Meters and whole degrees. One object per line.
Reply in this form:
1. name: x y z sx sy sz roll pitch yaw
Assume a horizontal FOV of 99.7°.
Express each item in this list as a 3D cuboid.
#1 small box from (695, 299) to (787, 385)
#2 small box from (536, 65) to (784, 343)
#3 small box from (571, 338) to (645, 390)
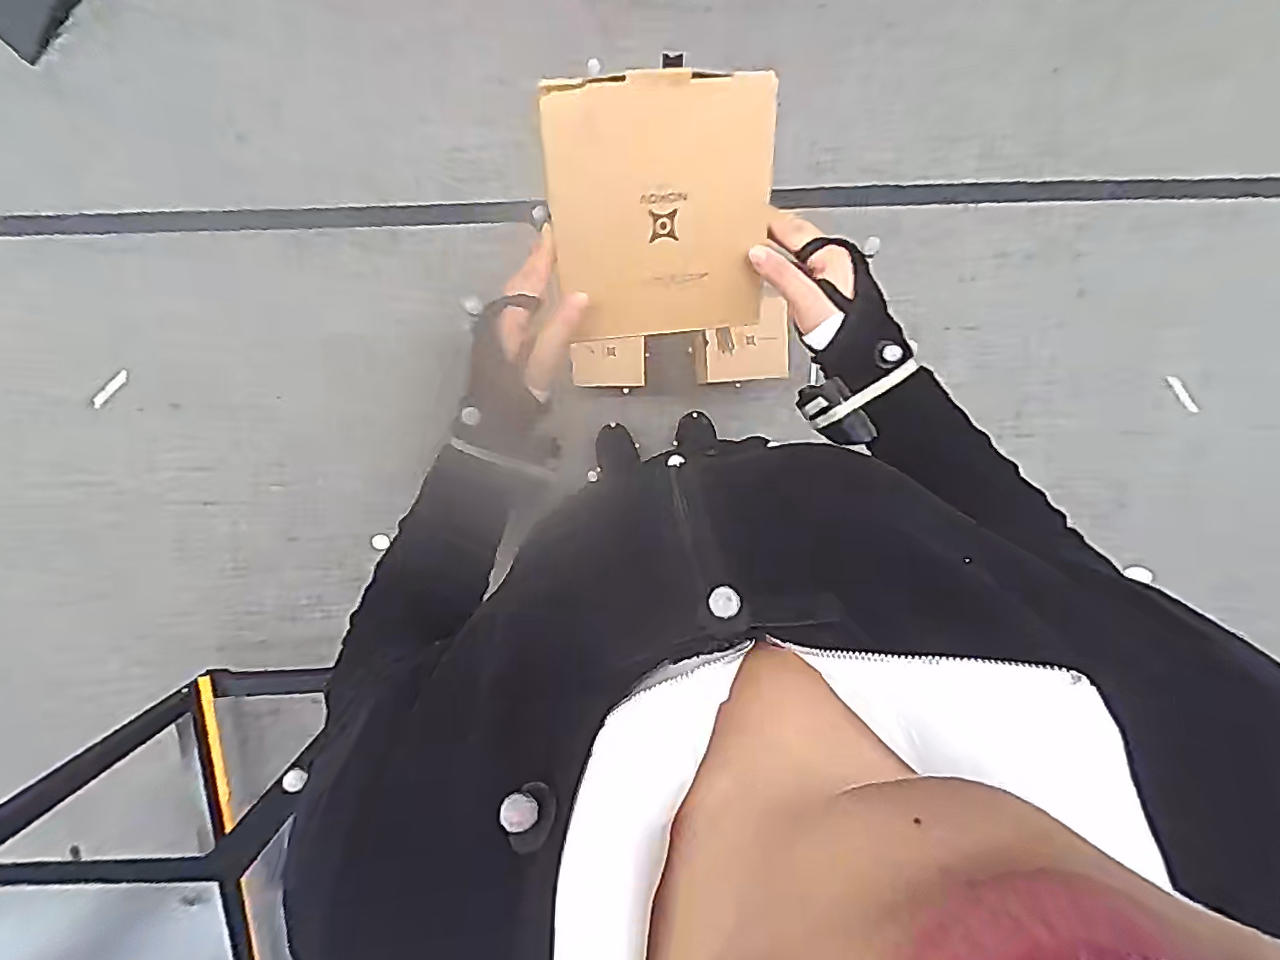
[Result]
1. small box: 0.215 -0.297 1.194 0.179 0.176 0.168 -4 100 -1
2. small box: 0.005 -0.232 0.458 0.168 0.176 0.179 -7 124 -7
3. small box: -0.078 -0.311 1.353 0.179 0.176 0.168 0 100 0
